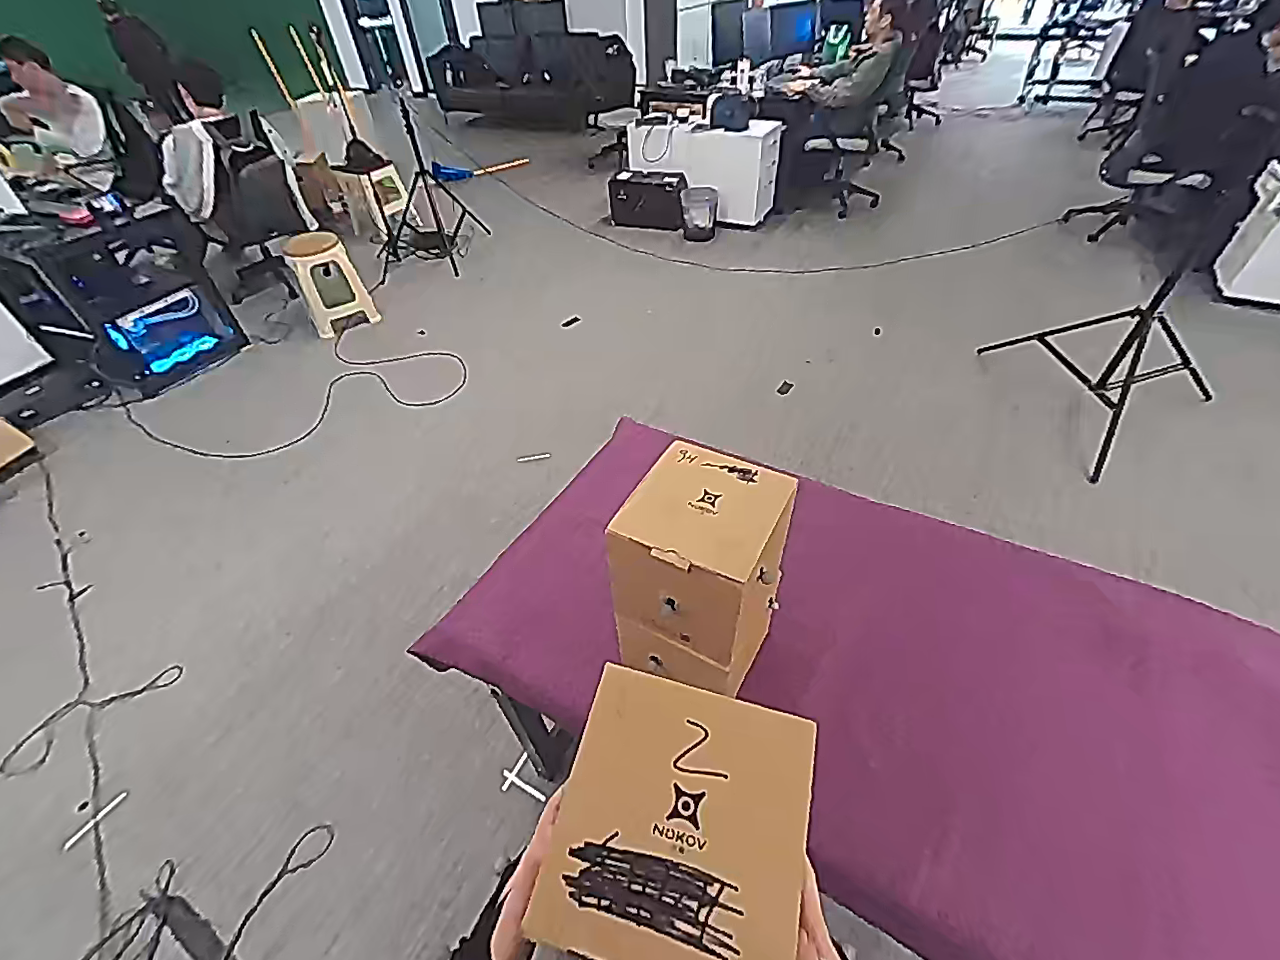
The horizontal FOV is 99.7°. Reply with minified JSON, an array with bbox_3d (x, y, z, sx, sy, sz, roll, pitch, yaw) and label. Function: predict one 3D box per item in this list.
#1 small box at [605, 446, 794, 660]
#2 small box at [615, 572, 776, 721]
[{"bbox_3d":[0.077,0.092,0.678,0.168,0.176,0.179,20,49,22],"label":"small box"},{"bbox_3d":[0.083,0.214,0.788,0.168,0.176,0.179,21,49,23],"label":"small box"}]
